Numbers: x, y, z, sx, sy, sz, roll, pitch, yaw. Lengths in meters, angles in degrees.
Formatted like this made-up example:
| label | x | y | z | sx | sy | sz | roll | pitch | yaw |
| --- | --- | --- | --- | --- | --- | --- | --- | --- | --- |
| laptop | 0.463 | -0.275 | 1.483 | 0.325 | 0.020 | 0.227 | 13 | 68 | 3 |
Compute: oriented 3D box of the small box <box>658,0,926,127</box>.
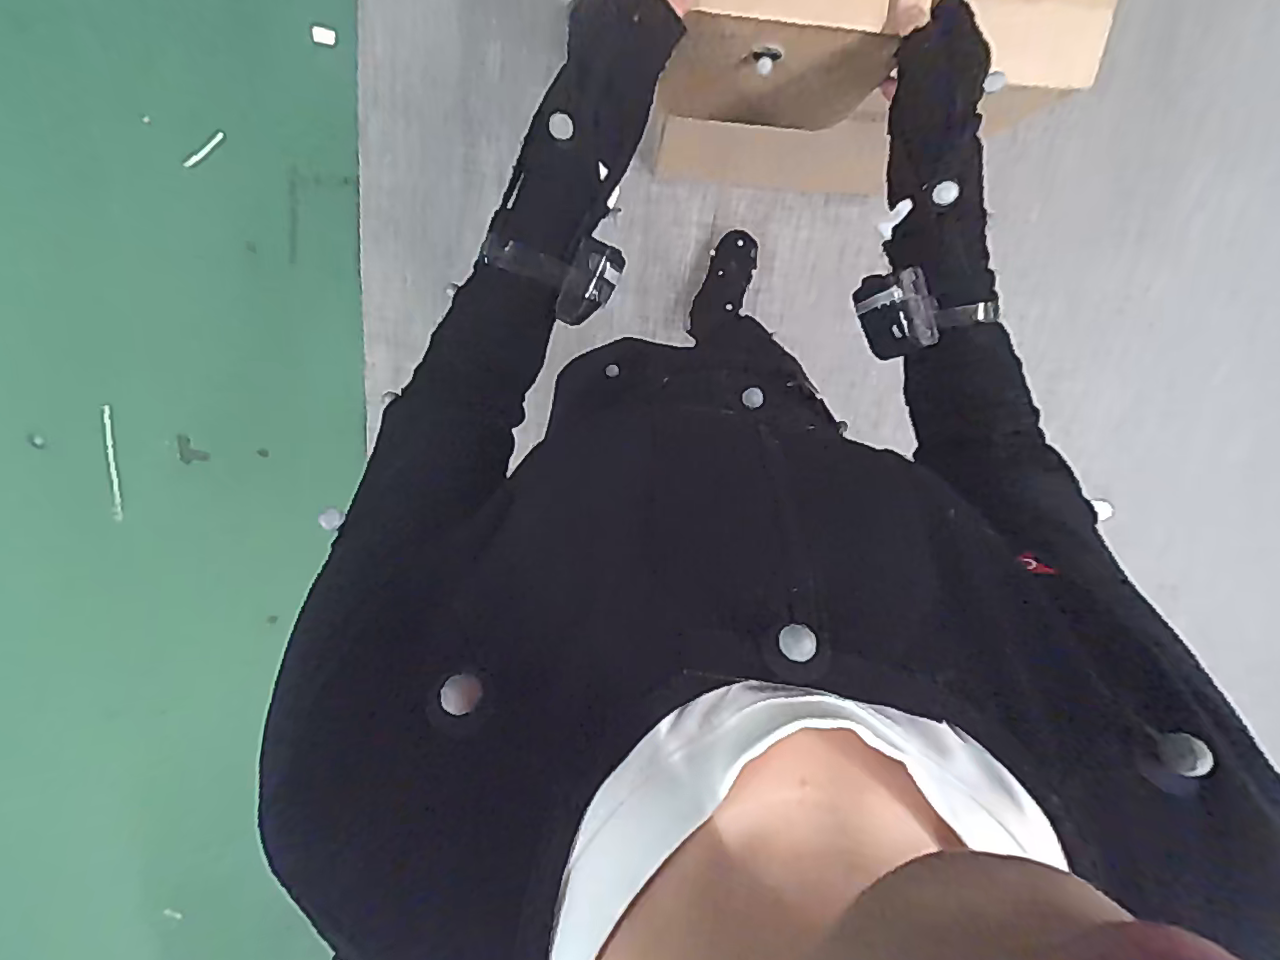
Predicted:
| label | x | y | z | sx | sy | sz | roll | pitch | yaw |
| --- | --- | --- | --- | --- | --- | --- | --- | --- | --- |
| small box | 0.109 | -0.404 | 0.423 | 0.179 | 0.176 | 0.168 | 4 | 103 | -3 |
